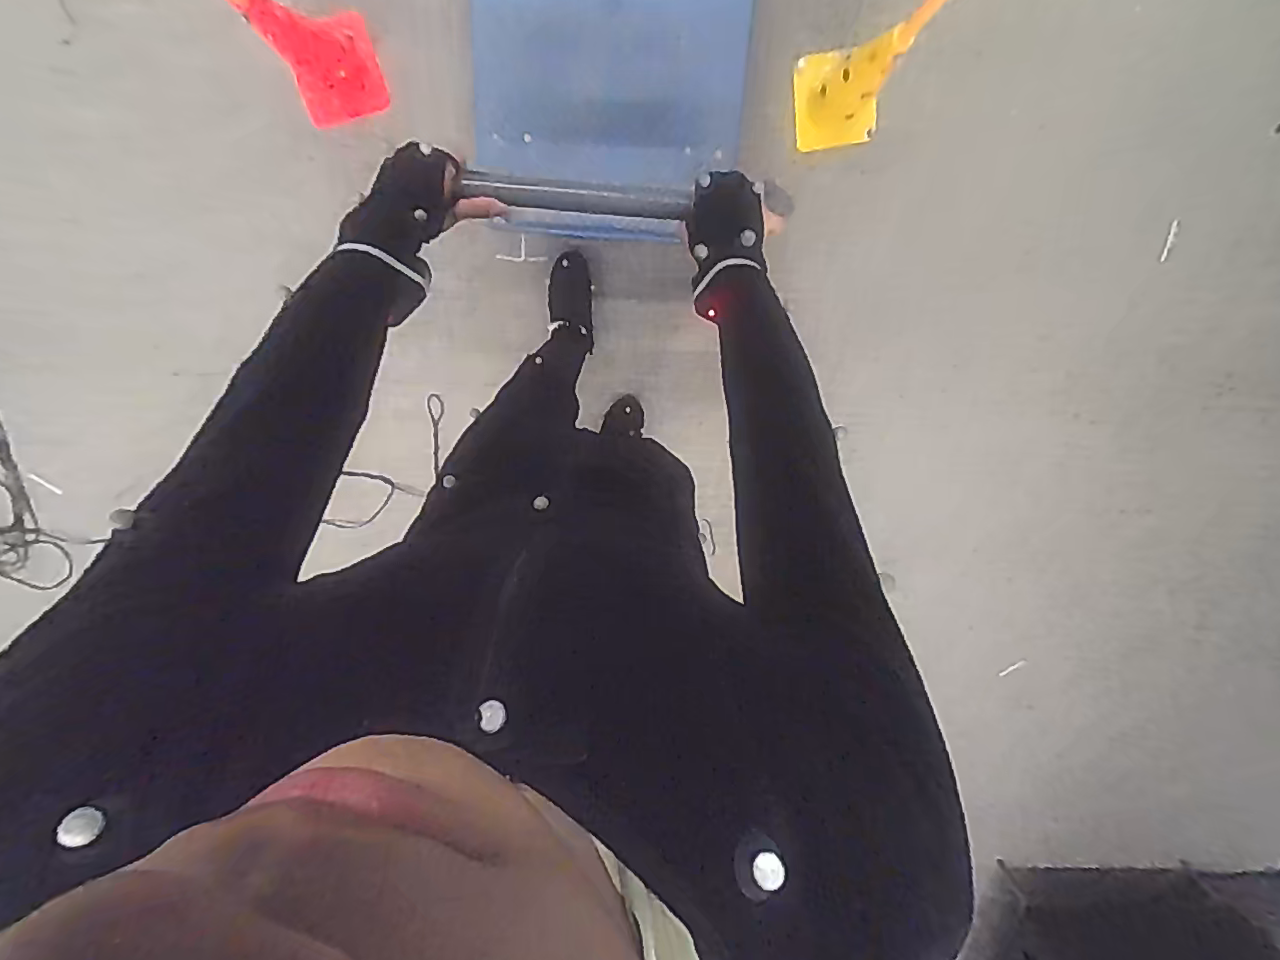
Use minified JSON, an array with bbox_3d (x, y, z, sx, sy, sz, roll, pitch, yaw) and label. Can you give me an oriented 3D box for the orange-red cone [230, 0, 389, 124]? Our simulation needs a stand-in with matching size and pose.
[{"bbox_3d":[-0.702,-0.899,1.099,0.199,0.360,0.198,-11,109,4],"label":"orange-red cone"}]
